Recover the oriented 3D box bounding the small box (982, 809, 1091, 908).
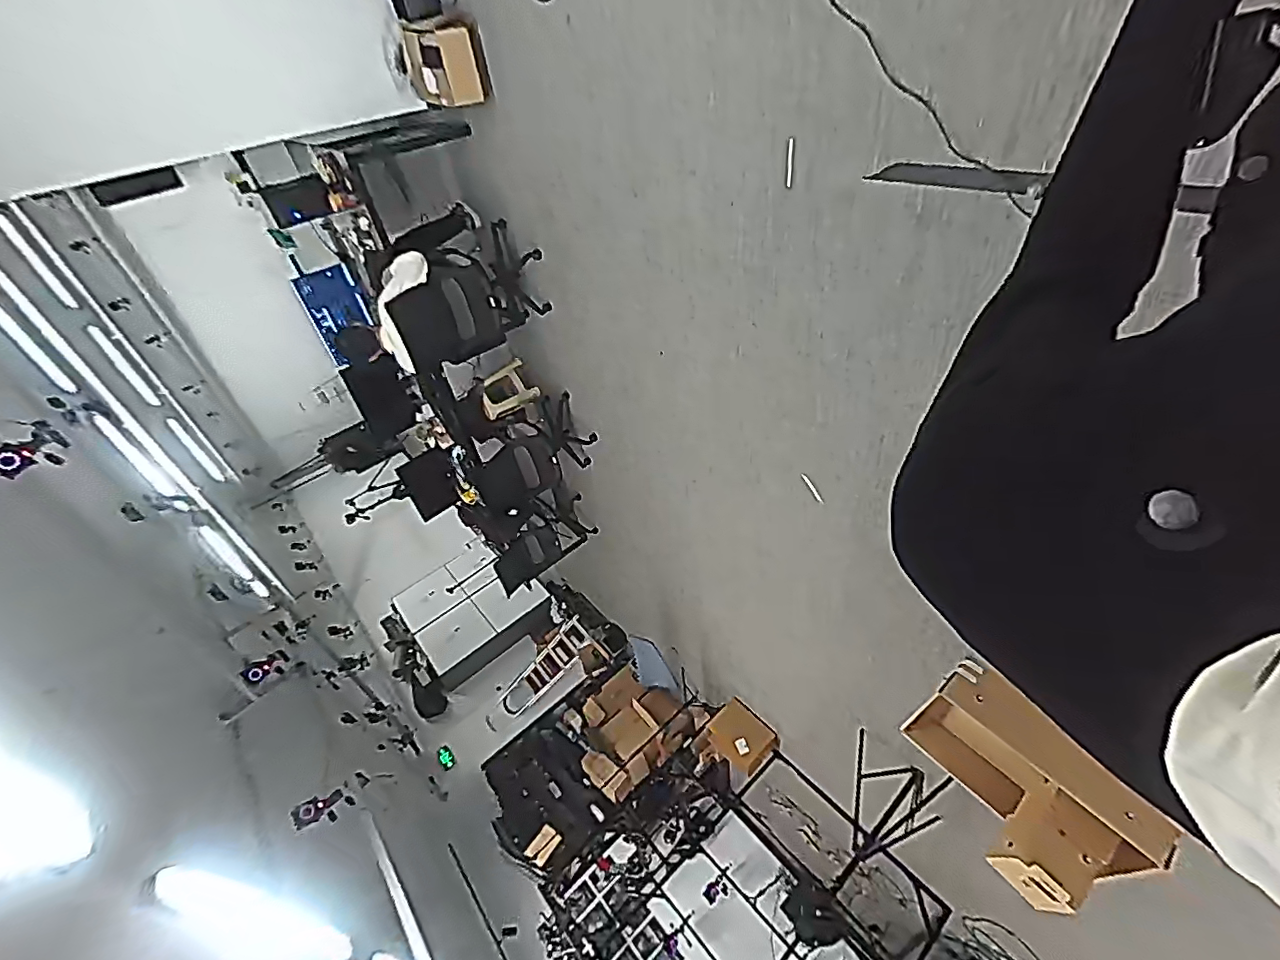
[{"bbox_3d":[1.136,1.076,1.547,0.168,0.176,0.179,44,154,24],"label":"small box"}]
